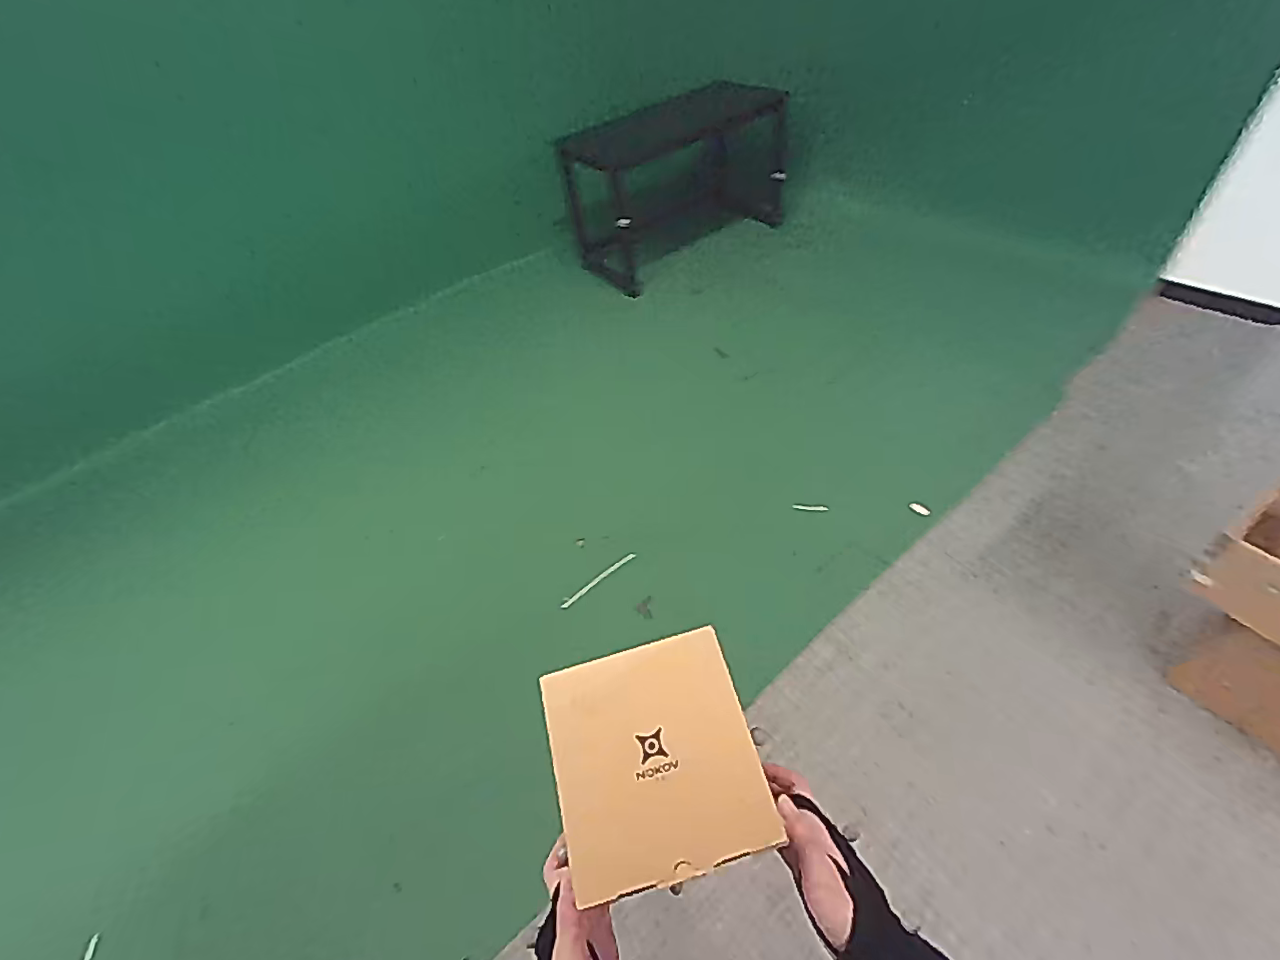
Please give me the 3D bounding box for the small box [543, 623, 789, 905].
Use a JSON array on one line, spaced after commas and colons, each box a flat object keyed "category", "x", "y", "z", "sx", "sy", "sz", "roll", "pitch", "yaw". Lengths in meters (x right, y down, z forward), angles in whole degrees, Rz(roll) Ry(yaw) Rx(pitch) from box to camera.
[{"category": "small box", "x": 0.017, "y": 0.260, "z": 0.503, "sx": 0.168, "sy": 0.176, "sz": 0.179, "roll": -15, "pitch": 57, "yaw": -4}]
